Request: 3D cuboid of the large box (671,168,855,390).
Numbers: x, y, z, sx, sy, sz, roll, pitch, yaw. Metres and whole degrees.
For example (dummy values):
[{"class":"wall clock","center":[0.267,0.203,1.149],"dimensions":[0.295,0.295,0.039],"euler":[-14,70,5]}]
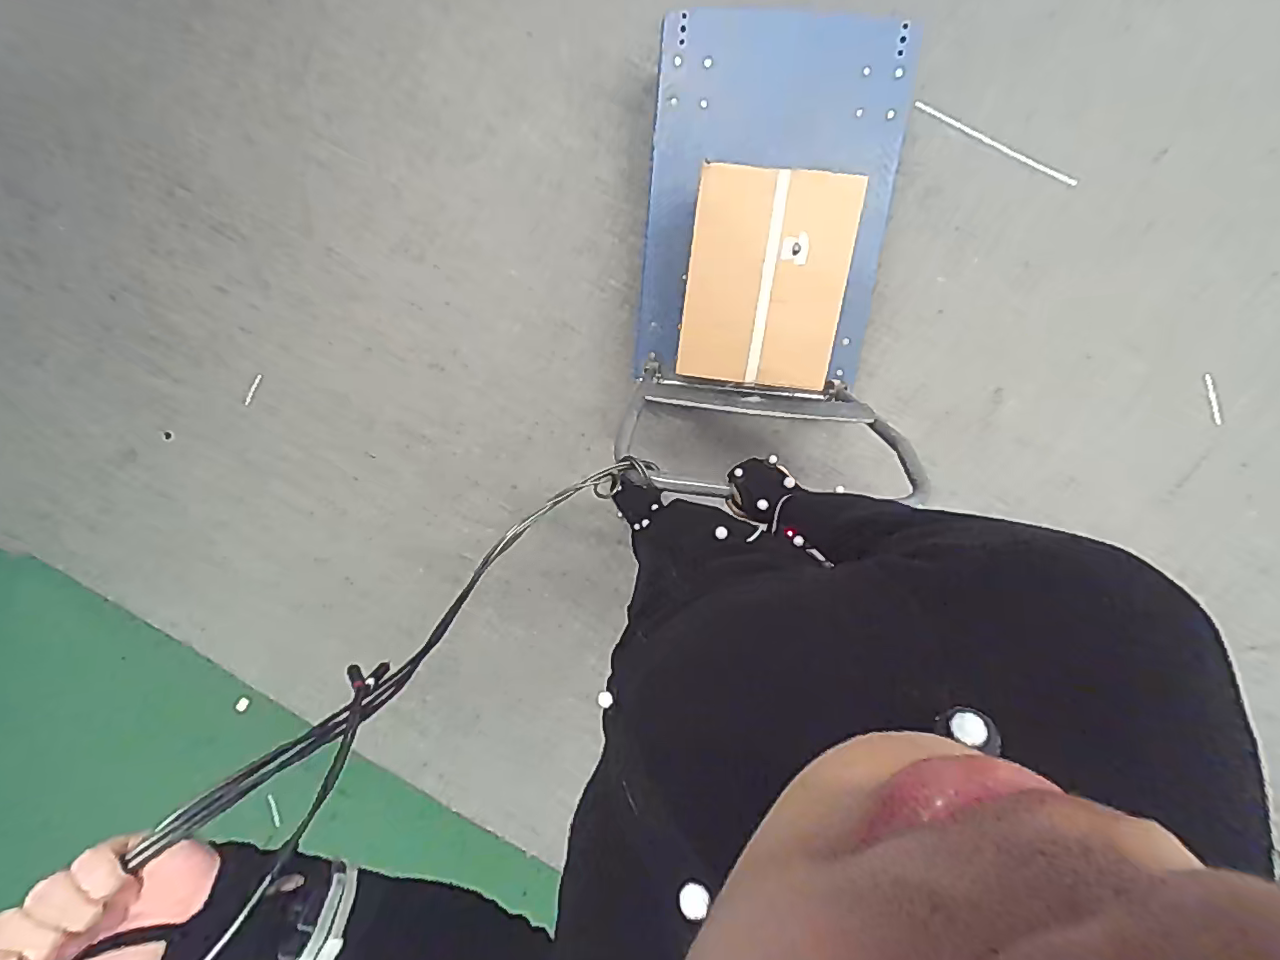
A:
[{"class":"large box","center":[0.253,-0.435,1.230],"dimensions":[0.320,0.320,0.408],"euler":[8,107,3]}]
